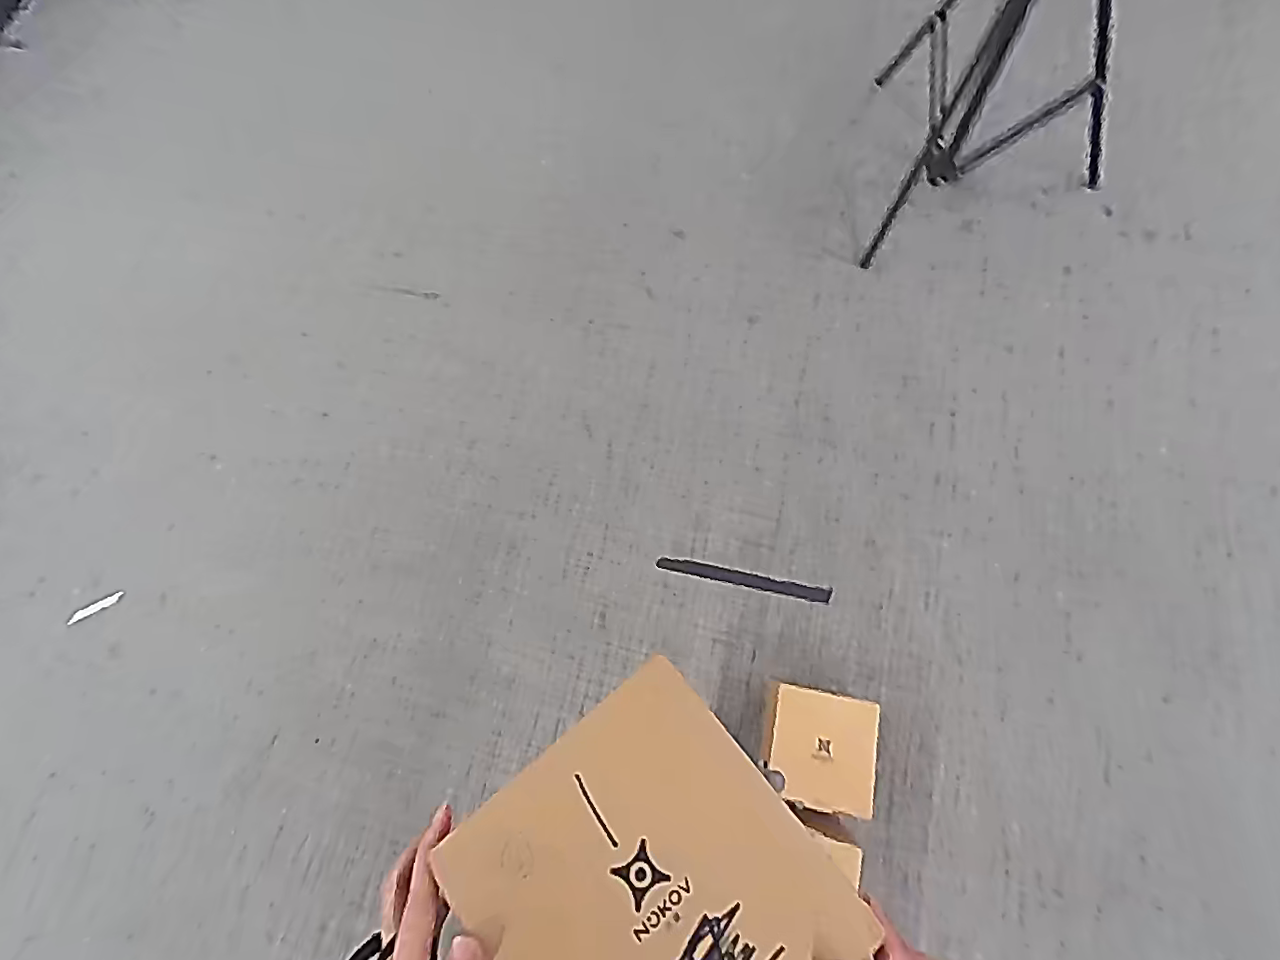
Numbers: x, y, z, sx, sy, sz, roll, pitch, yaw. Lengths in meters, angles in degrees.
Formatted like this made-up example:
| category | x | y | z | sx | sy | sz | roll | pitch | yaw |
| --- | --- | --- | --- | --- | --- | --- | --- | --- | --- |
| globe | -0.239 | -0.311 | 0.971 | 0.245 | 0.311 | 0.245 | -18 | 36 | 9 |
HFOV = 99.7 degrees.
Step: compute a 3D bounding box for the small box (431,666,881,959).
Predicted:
| category | x | y | z | sx | sy | sz | roll | pitch | yaw |
| --- | --- | --- | --- | --- | --- | --- | --- | --- | --- |
| small box | 0.007 | 0.246 | 0.348 | 0.168 | 0.176 | 0.179 | -37 | 69 | -14 |
